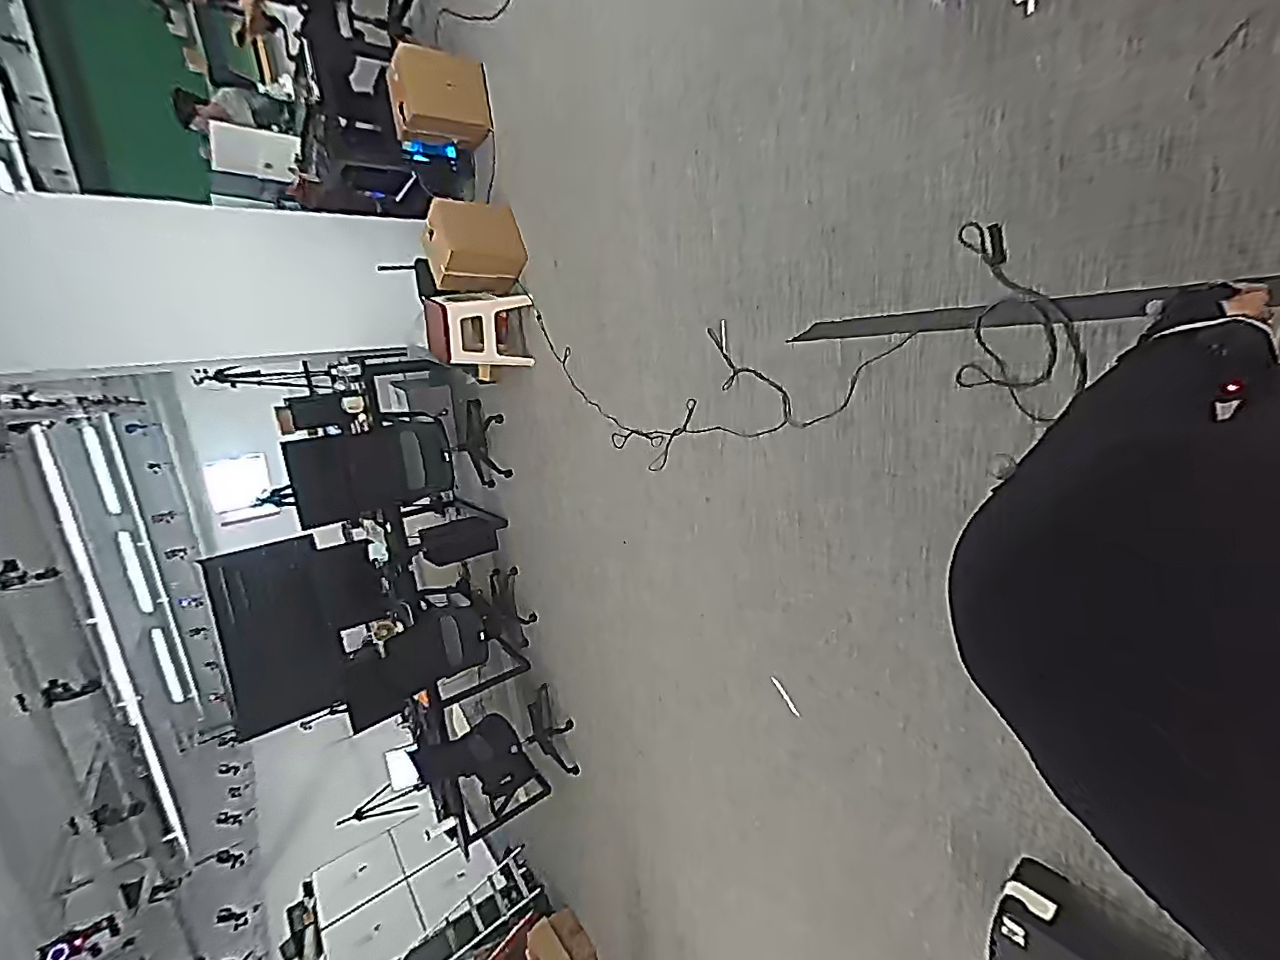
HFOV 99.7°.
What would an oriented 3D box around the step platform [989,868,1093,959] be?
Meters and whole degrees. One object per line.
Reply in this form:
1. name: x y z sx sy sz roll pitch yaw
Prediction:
1. step platform: 1.150 1.211 1.156 0.684 0.204 0.286 11 112 51
